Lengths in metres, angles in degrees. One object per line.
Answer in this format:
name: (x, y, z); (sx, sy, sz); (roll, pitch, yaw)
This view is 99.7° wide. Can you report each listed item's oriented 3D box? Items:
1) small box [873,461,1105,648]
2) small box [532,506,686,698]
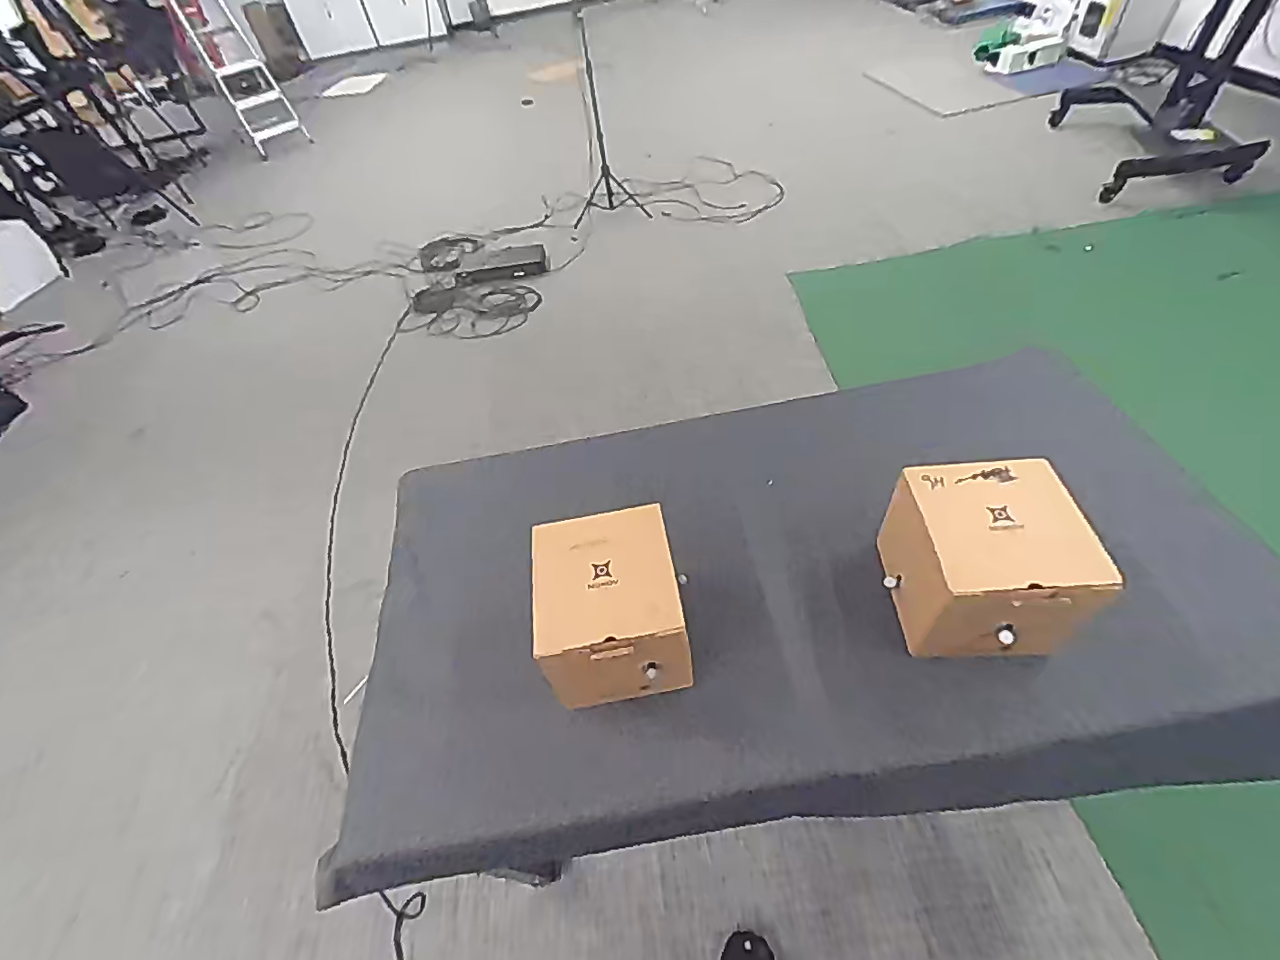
small box: (0.406, 0.100, 0.670); (0.168, 0.176, 0.179); (-4, 51, 7)
small box: (-0.037, 0.164, 0.696); (0.168, 0.176, 0.179); (-10, 48, -1)
